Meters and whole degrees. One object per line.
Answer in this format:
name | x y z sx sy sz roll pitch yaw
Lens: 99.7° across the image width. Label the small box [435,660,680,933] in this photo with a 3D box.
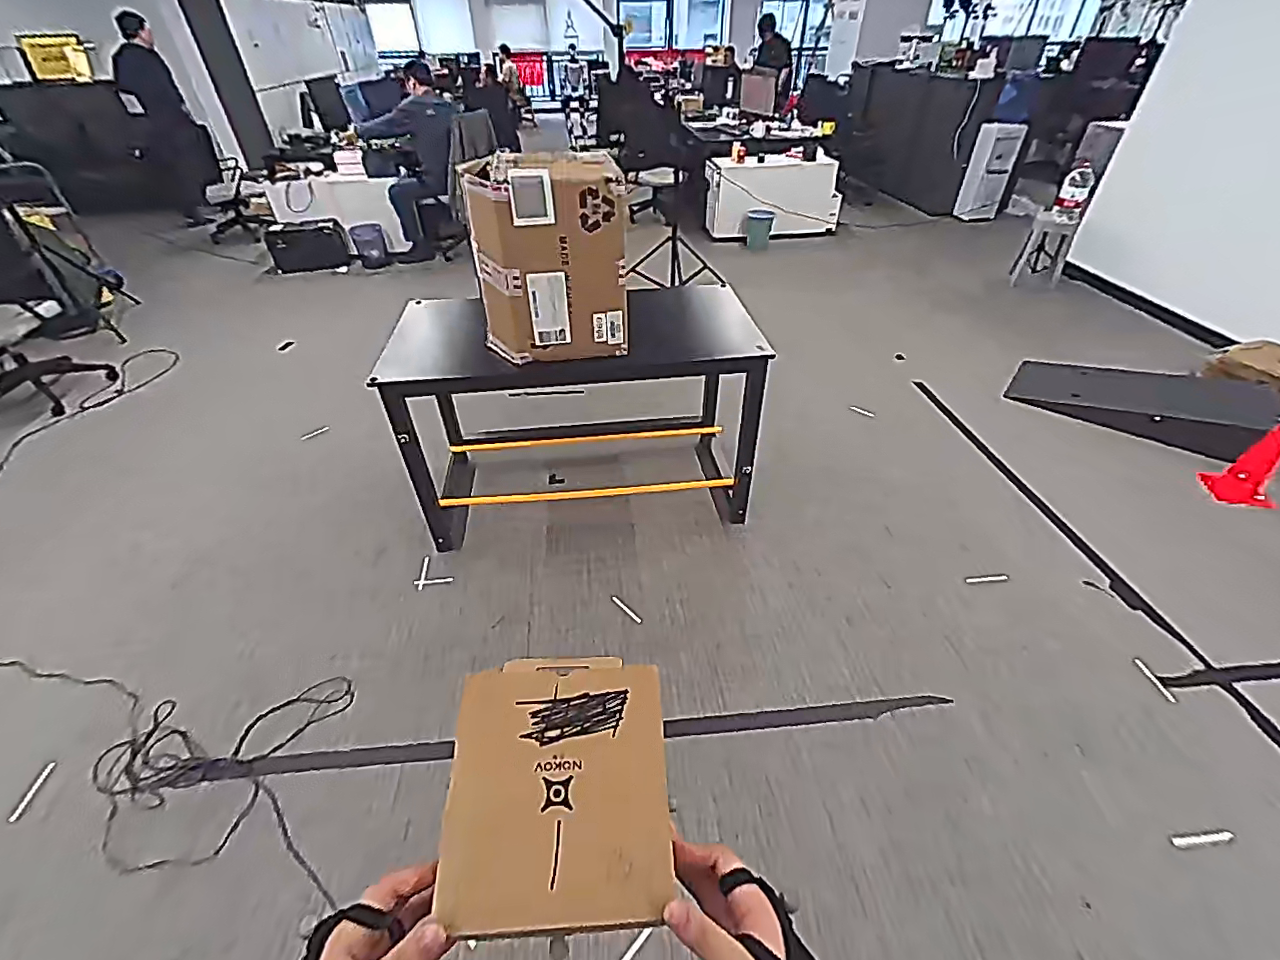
small box | -0.061 0.276 0.473 0.168 0.176 0.179 -2 50 -3
